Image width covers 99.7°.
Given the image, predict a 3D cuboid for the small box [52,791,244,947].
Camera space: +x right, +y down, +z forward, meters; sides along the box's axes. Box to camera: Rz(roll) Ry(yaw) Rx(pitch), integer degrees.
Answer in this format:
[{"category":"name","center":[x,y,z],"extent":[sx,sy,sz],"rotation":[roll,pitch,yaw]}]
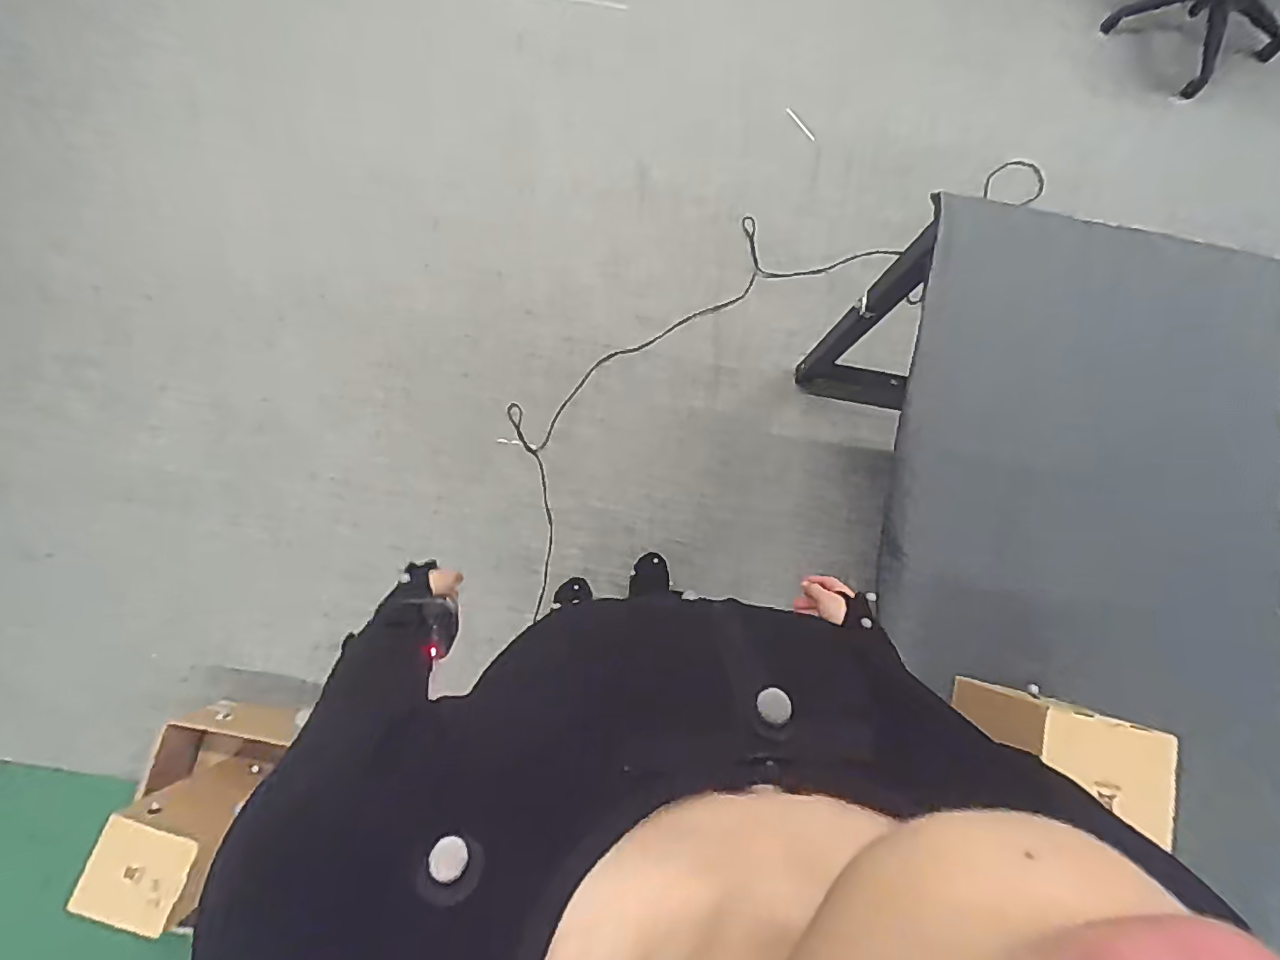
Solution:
[{"category":"small box","center":[-0.923,0.726,1.034],"extent":[0.179,0.176,0.168],"rotation":[19,79,-2]}]

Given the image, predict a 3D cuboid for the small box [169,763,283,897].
[{"category":"small box","center":[-0.938,0.760,1.195],"extent":[0.168,0.176,0.179],"rotation":[18,78,-2]}]

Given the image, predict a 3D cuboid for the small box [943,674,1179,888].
[{"category":"small box","center":[0.517,0.360,0.685],"extent":[0.168,0.176,0.179],"rotation":[13,80,-2]}]
